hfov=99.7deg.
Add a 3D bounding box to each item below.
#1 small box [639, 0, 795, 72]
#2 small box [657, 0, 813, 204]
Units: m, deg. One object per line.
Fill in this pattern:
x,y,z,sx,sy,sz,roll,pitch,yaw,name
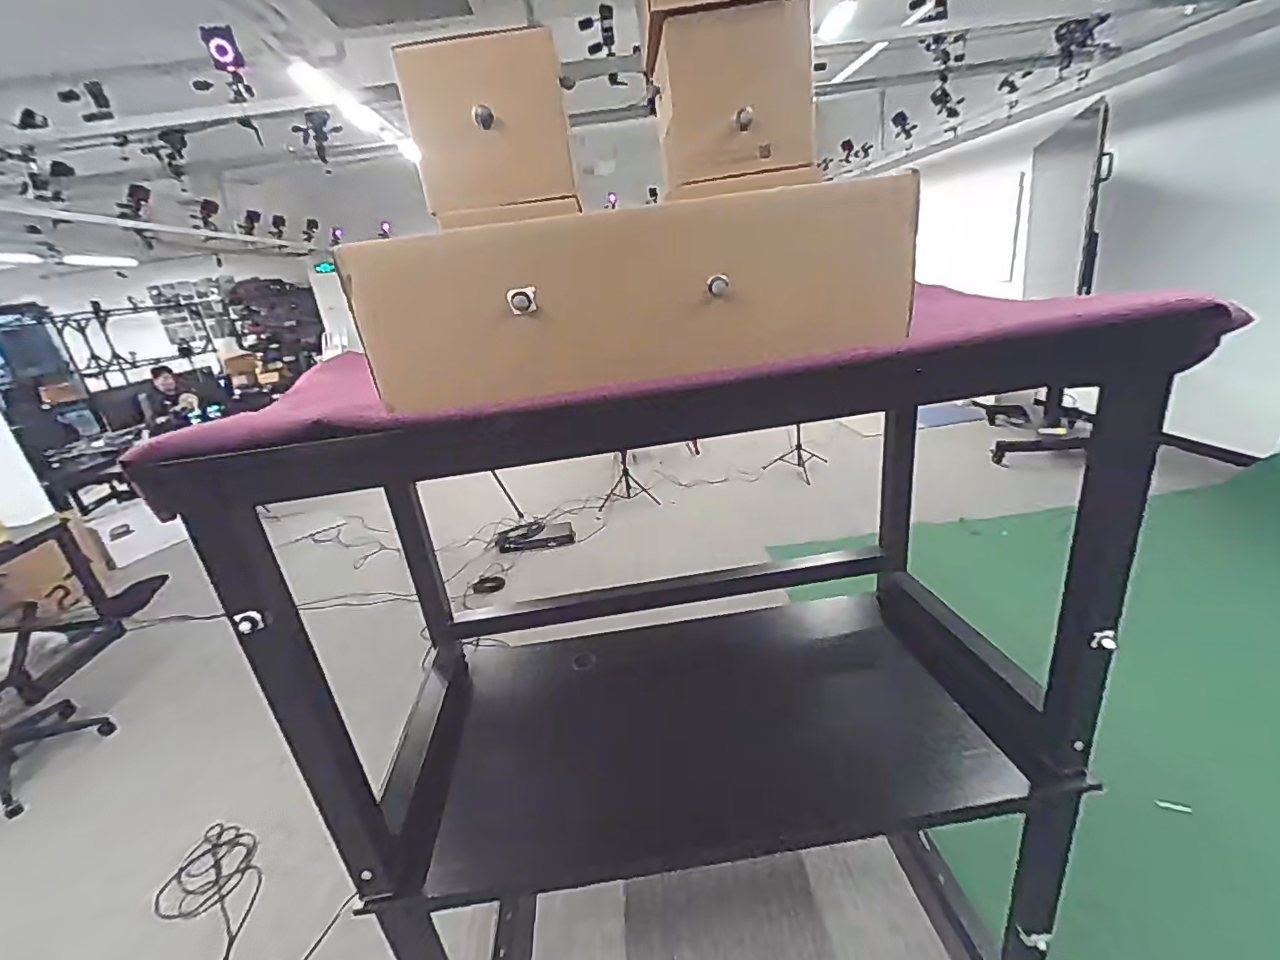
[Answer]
0.080,-0.615,0.639,0.168,0.176,0.179,-8,21,2,small box
0.116,-0.468,0.700,0.168,0.176,0.179,-9,21,1,small box
